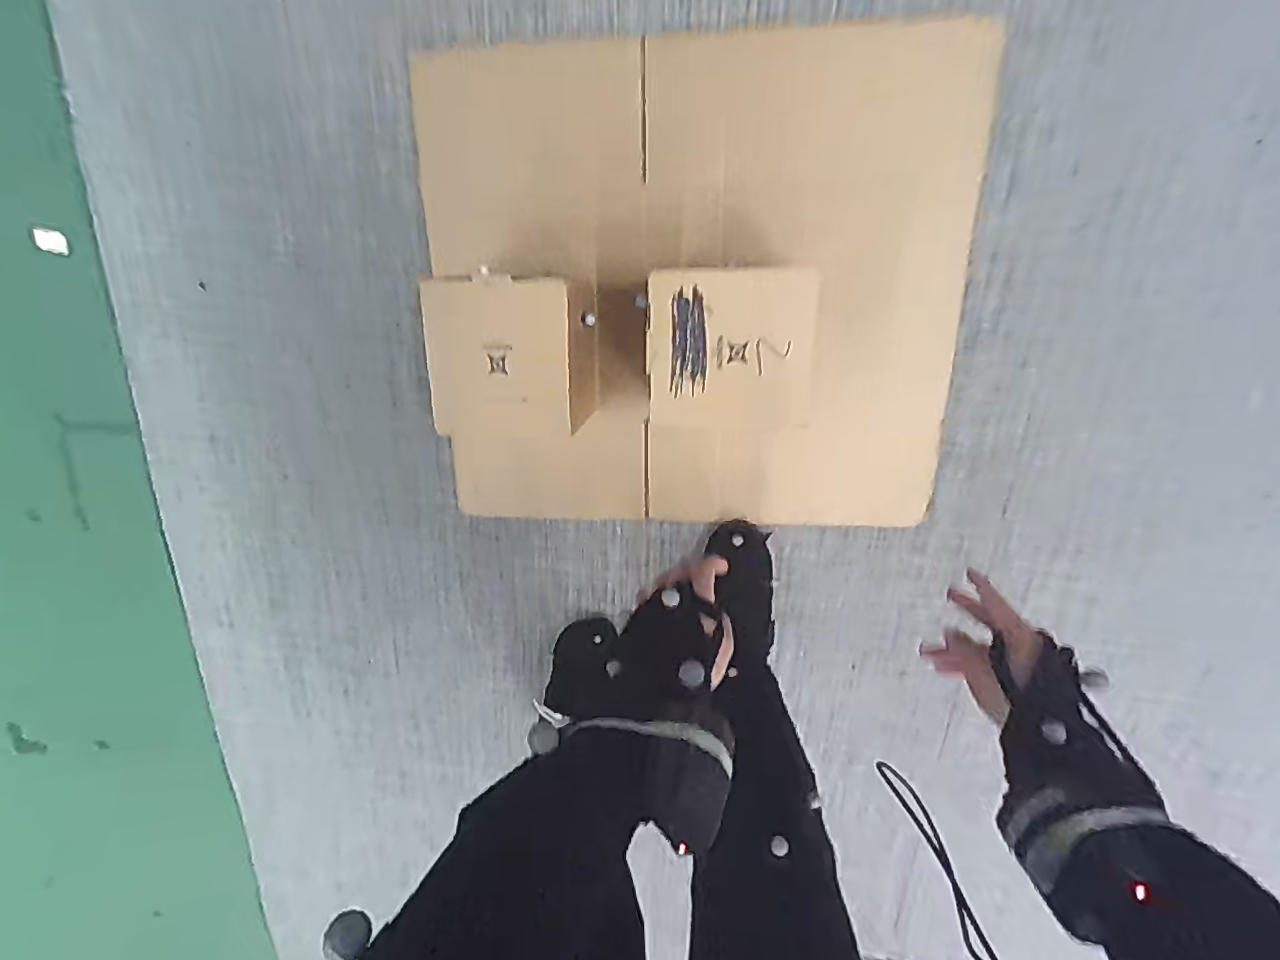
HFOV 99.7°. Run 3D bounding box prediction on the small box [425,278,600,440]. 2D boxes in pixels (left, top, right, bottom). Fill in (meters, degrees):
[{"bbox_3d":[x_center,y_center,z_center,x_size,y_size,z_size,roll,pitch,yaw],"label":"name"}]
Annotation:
[{"bbox_3d":[-0.147,-0.156,0.680,0.168,0.176,0.179,2,109,6],"label":"small box"}]
